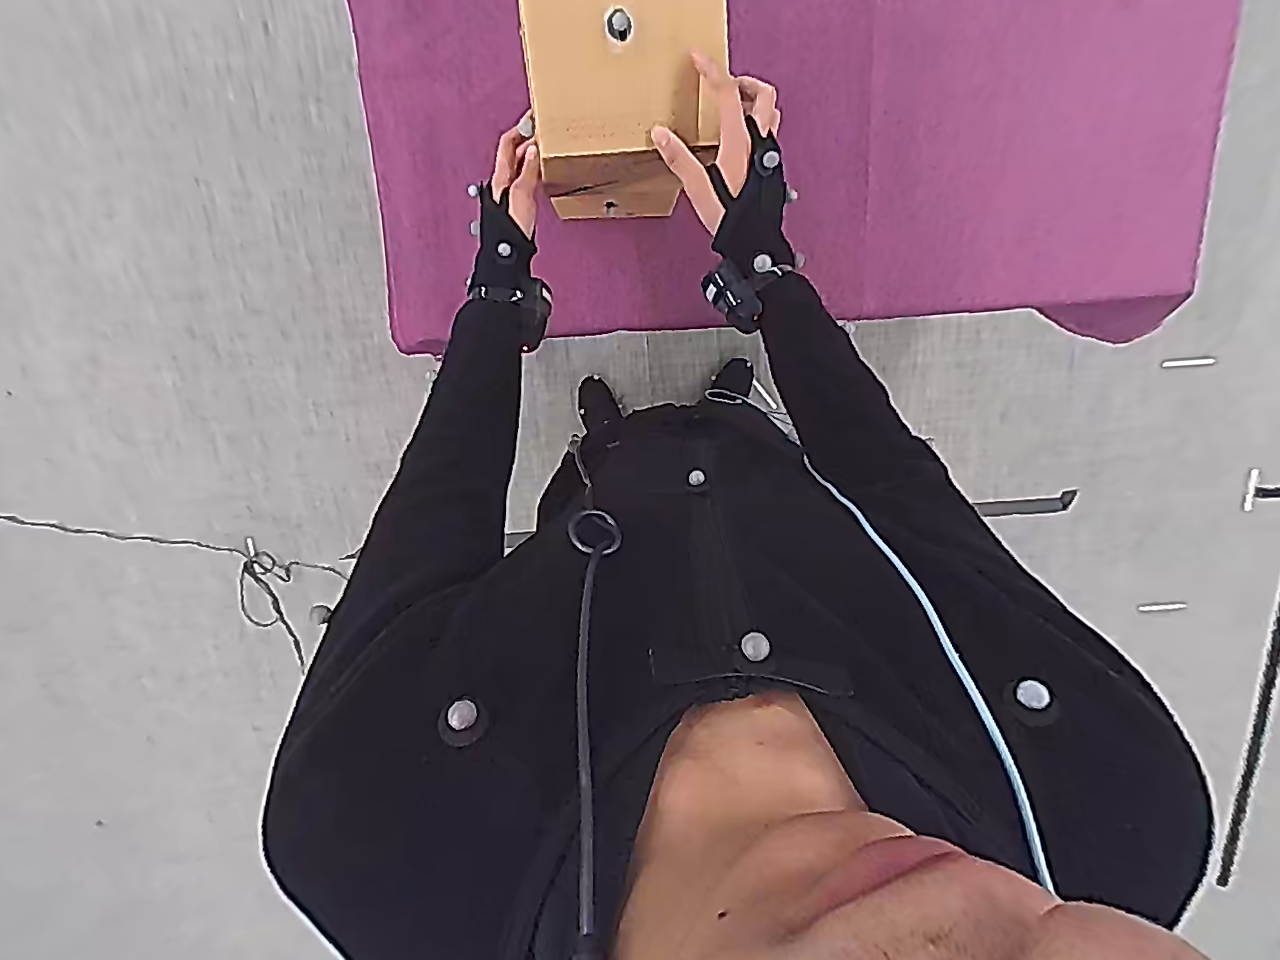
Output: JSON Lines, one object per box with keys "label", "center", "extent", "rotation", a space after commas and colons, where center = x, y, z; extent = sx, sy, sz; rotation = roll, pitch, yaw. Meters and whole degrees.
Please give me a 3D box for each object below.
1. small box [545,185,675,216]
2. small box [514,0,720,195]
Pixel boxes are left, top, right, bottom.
{"label": "small box", "center": [-0.039, -0.451, 0.699], "extent": [0.168, 0.176, 0.179], "rotation": [-2, 104, -2]}
{"label": "small box", "center": [-0.023, -0.391, 0.533], "extent": [0.179, 0.168, 0.176], "rotation": [-9, 108, -6]}
